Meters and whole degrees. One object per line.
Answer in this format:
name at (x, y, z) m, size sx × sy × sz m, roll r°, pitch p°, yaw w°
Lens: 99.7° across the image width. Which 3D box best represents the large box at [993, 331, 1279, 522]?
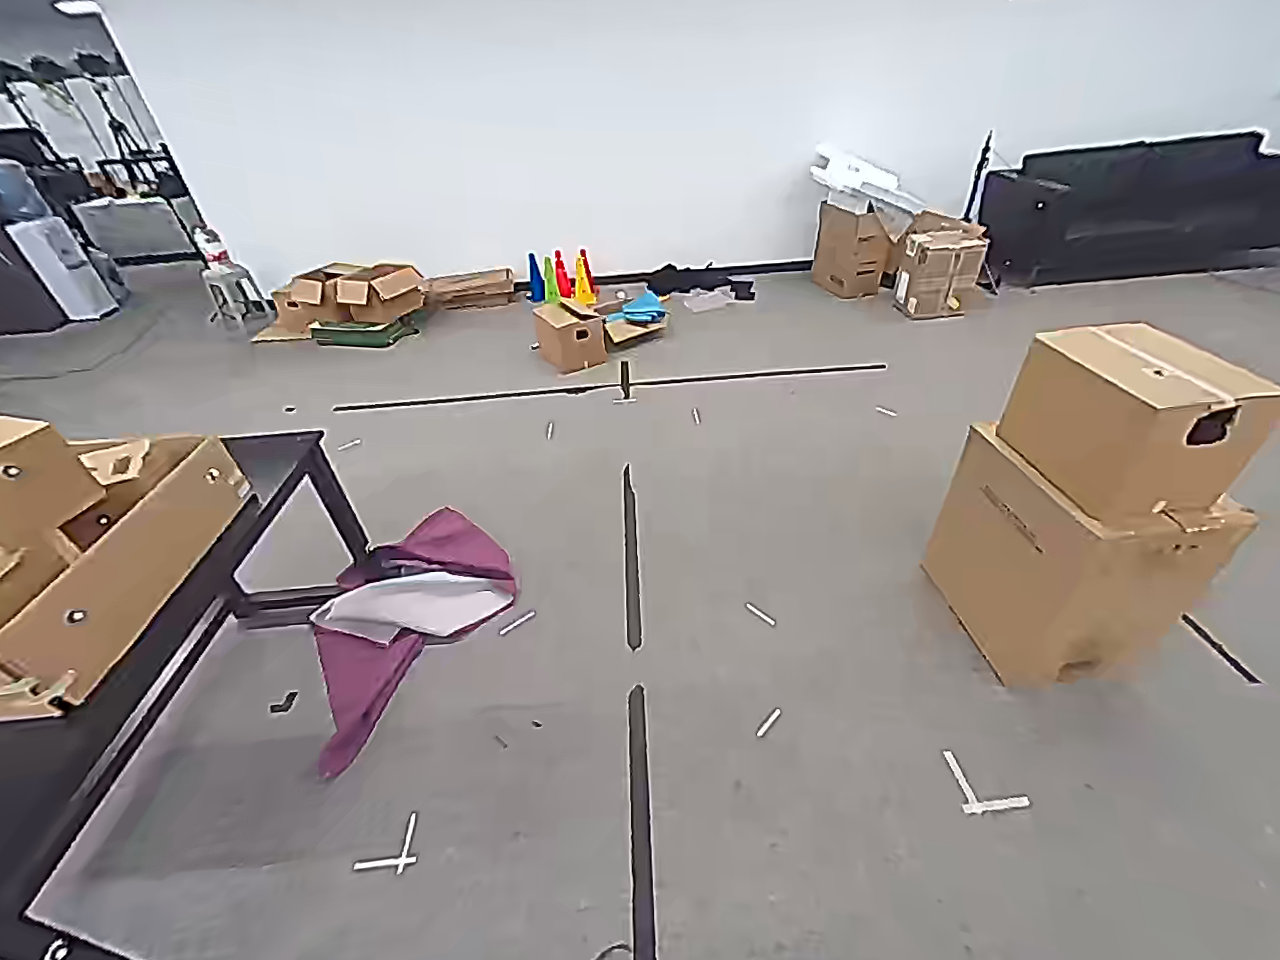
large box at (1.216, -0.149, 1.384) m, size 0.320 × 0.320 × 0.408 m, roll -7°, pitch 38°, yaw -2°
